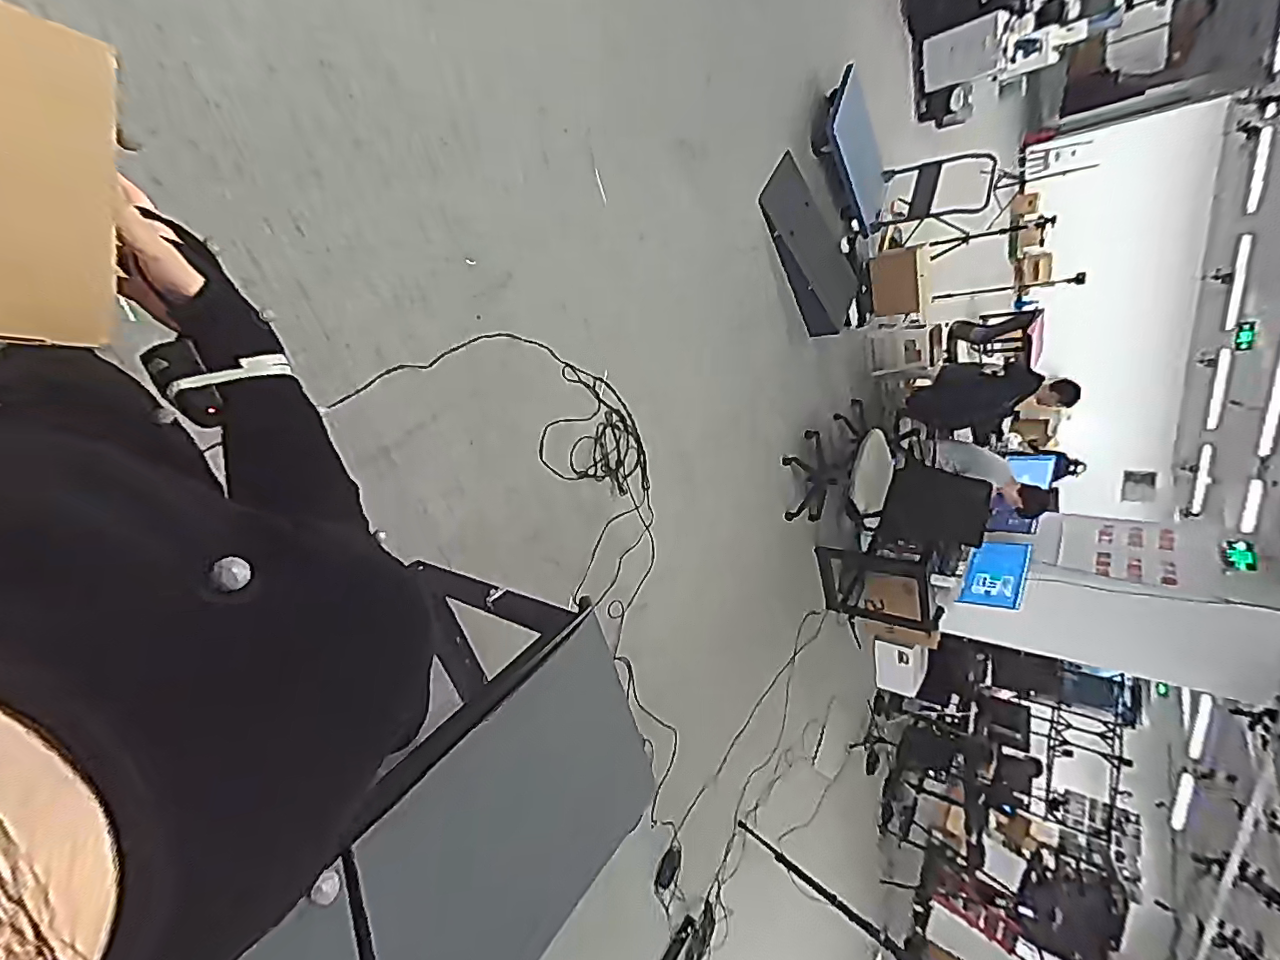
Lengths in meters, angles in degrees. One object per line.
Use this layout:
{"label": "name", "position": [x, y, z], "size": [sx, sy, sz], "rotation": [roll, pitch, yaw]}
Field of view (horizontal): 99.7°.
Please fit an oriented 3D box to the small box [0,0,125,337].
{"label": "small box", "position": [-0.412, -0.199, 0.294], "size": [0.168, 0.176, 0.179], "rotation": [-3, 119, -52]}
